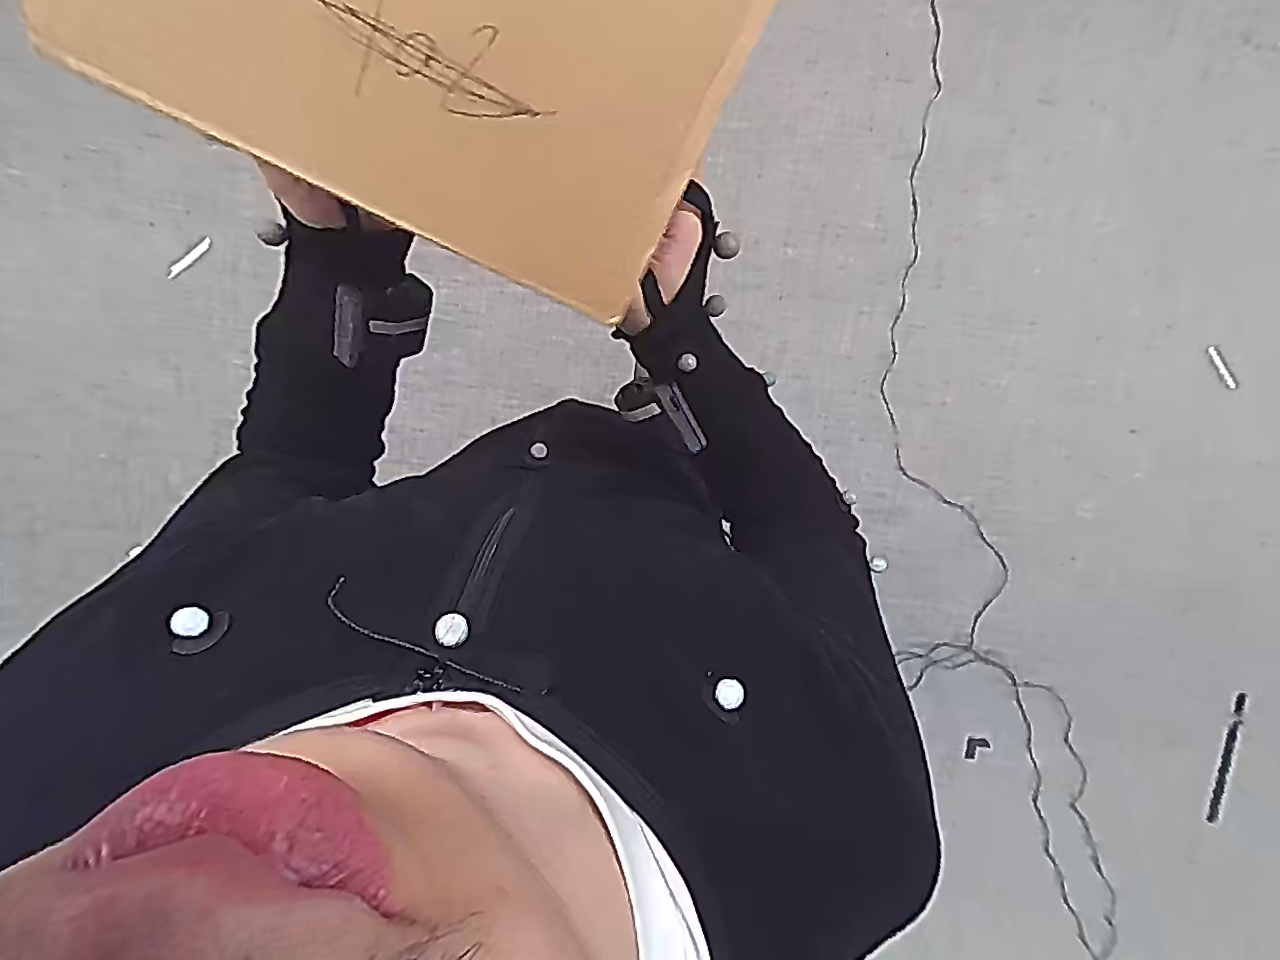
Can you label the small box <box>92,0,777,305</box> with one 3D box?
[{"bbox_3d":[-0.043,-0.198,0.193,0.168,0.176,0.179,19,123,-16],"label":"small box"}]
